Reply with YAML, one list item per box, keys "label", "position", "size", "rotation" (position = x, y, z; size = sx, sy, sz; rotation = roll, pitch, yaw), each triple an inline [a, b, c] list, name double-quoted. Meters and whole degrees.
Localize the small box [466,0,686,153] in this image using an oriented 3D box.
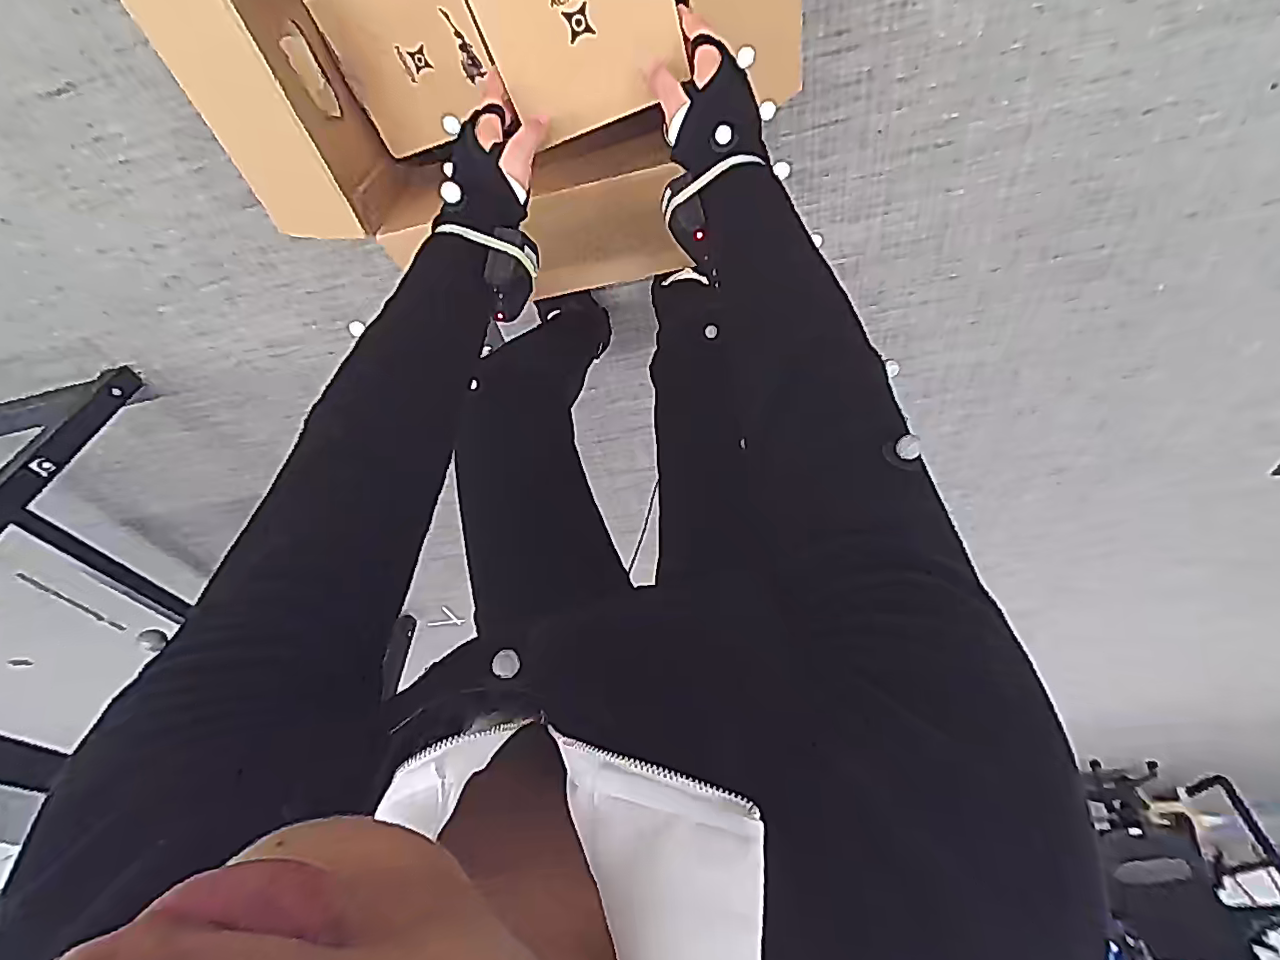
- label: "small box"
  position: [-0.060, -0.455, 0.512]
  size: [0.168, 0.176, 0.179]
  rotation: [-15, 136, 11]
